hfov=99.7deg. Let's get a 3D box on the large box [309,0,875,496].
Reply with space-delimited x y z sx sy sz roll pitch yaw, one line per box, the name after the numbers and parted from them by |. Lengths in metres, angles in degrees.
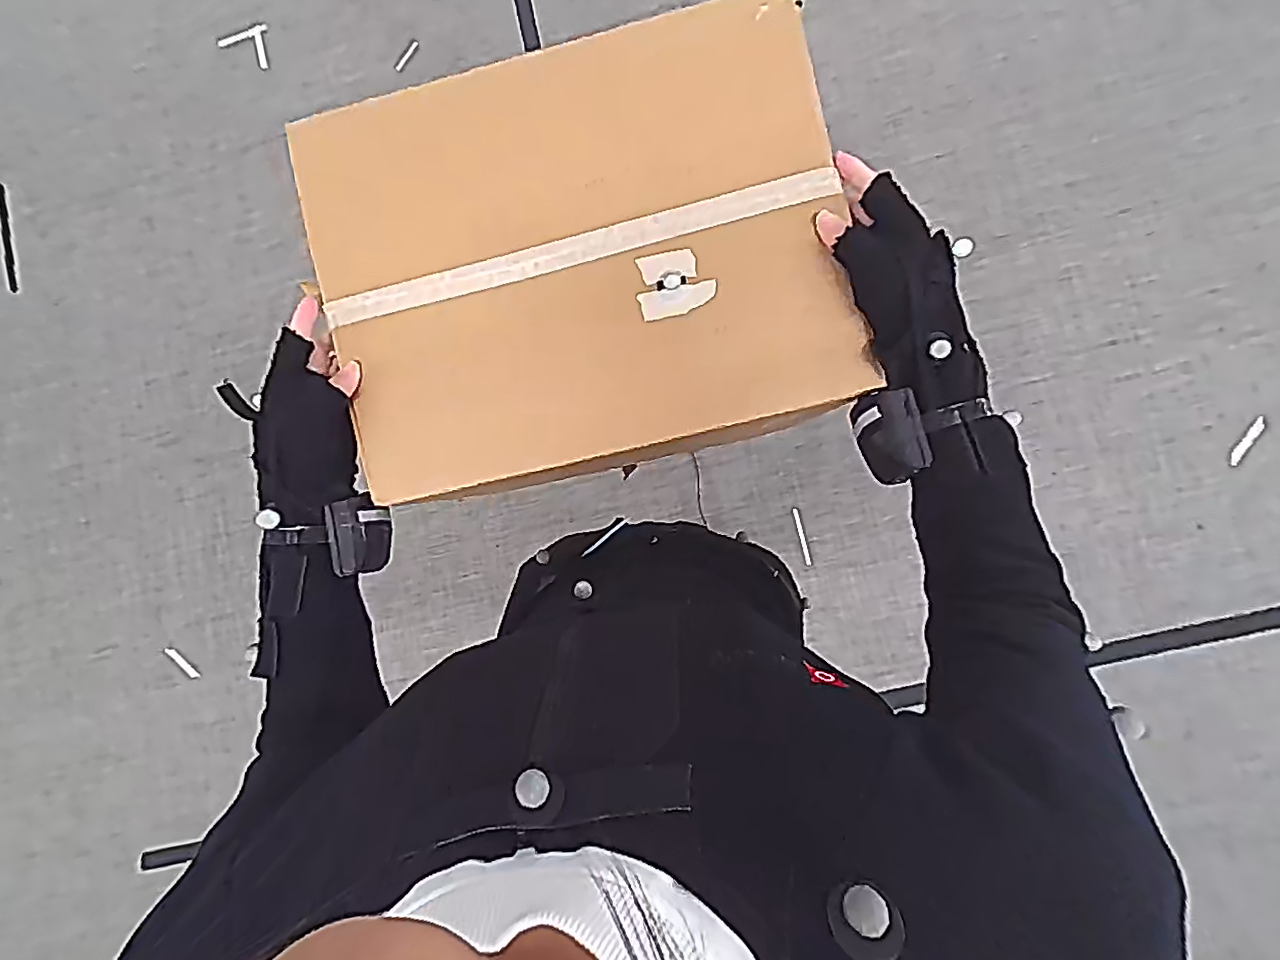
-0.038 -0.182 0.576 0.408 0.320 0.320 -13 91 3 | large box
